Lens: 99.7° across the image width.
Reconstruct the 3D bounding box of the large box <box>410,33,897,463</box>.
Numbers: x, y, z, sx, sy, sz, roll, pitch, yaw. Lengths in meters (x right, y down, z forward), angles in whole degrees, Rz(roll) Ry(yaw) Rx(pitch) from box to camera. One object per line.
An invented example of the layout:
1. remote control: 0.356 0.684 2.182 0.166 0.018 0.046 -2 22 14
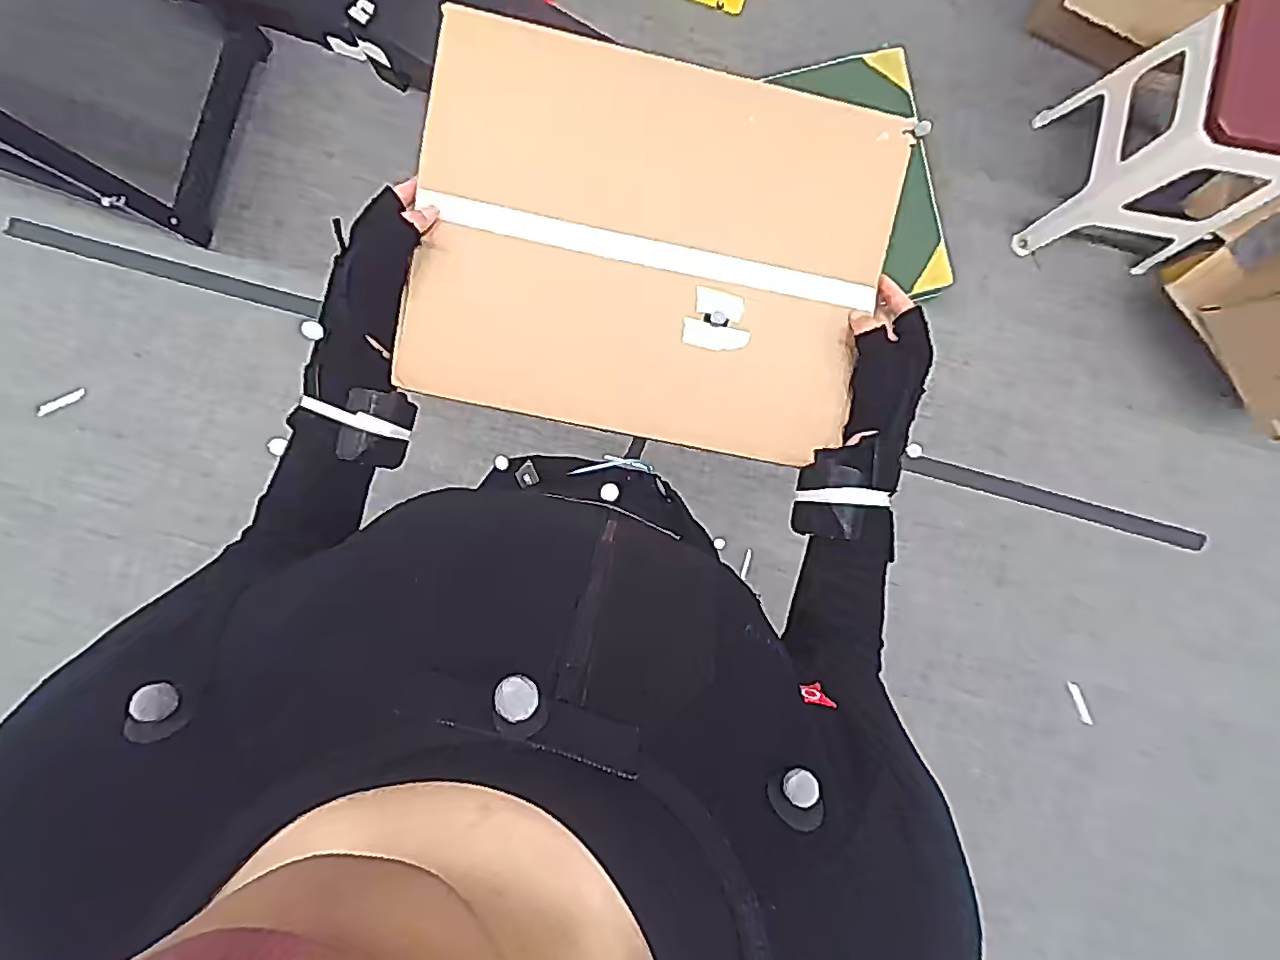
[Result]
1. large box: 0.001 -0.213 0.631 0.408 0.320 0.320 10 97 -5
